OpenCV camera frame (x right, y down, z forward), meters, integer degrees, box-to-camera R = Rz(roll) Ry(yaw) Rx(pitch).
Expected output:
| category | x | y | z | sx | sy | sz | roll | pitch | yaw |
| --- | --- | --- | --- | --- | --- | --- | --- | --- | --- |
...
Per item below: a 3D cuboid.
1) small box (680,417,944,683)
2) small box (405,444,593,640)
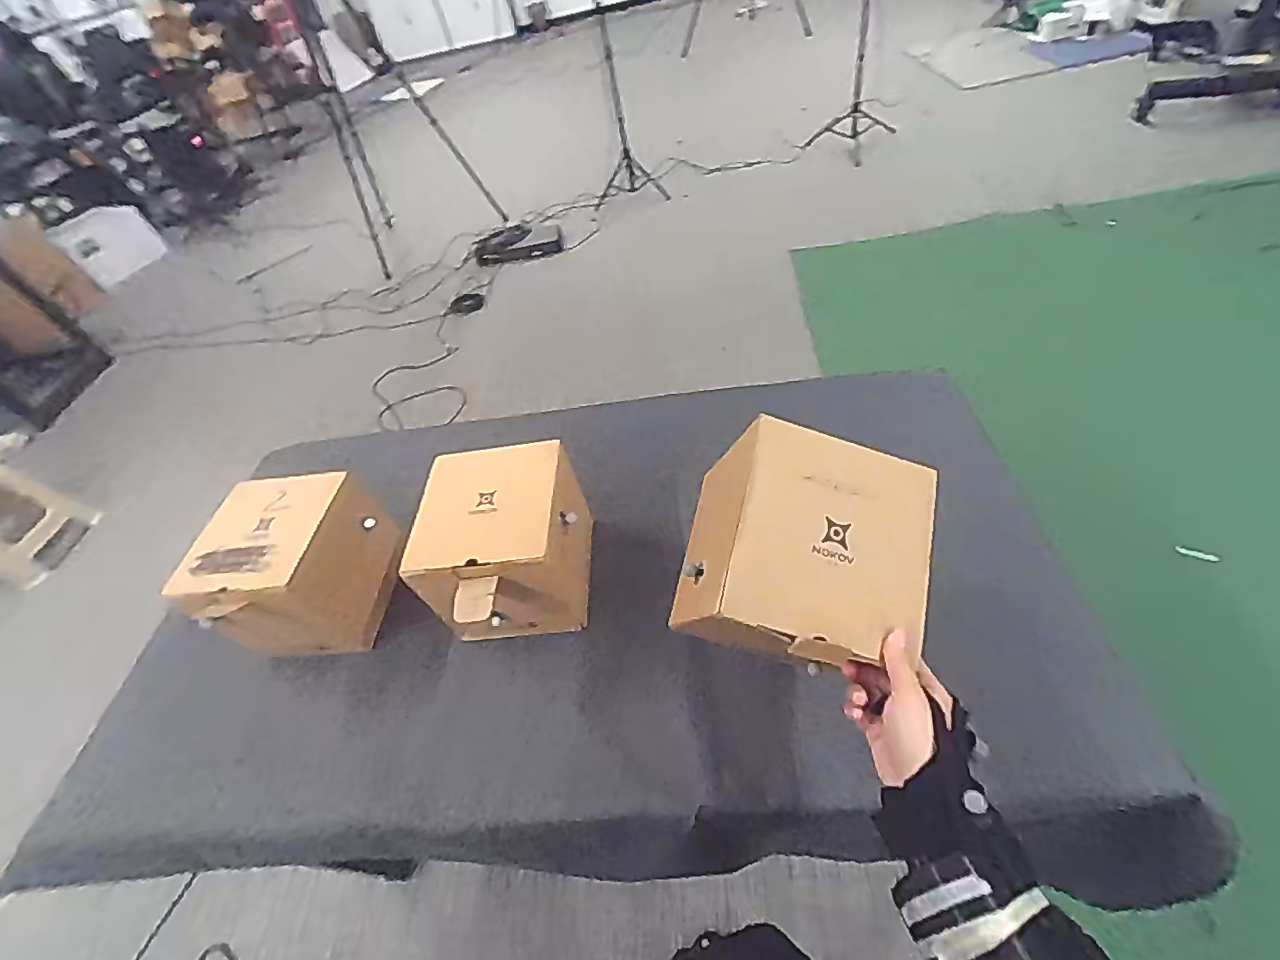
| category | x | y | z | sx | sy | sz | roll | pitch | yaw |
| --- | --- | --- | --- | --- | --- | --- | --- | --- | --- |
| small box | 0.144 | 0.073 | 0.500 | 0.168 | 0.176 | 0.179 | 17 | 70 | -5 |
| small box | -0.159 | 0.081 | 0.682 | 0.168 | 0.176 | 0.179 | -7 | 49 | 7 |
